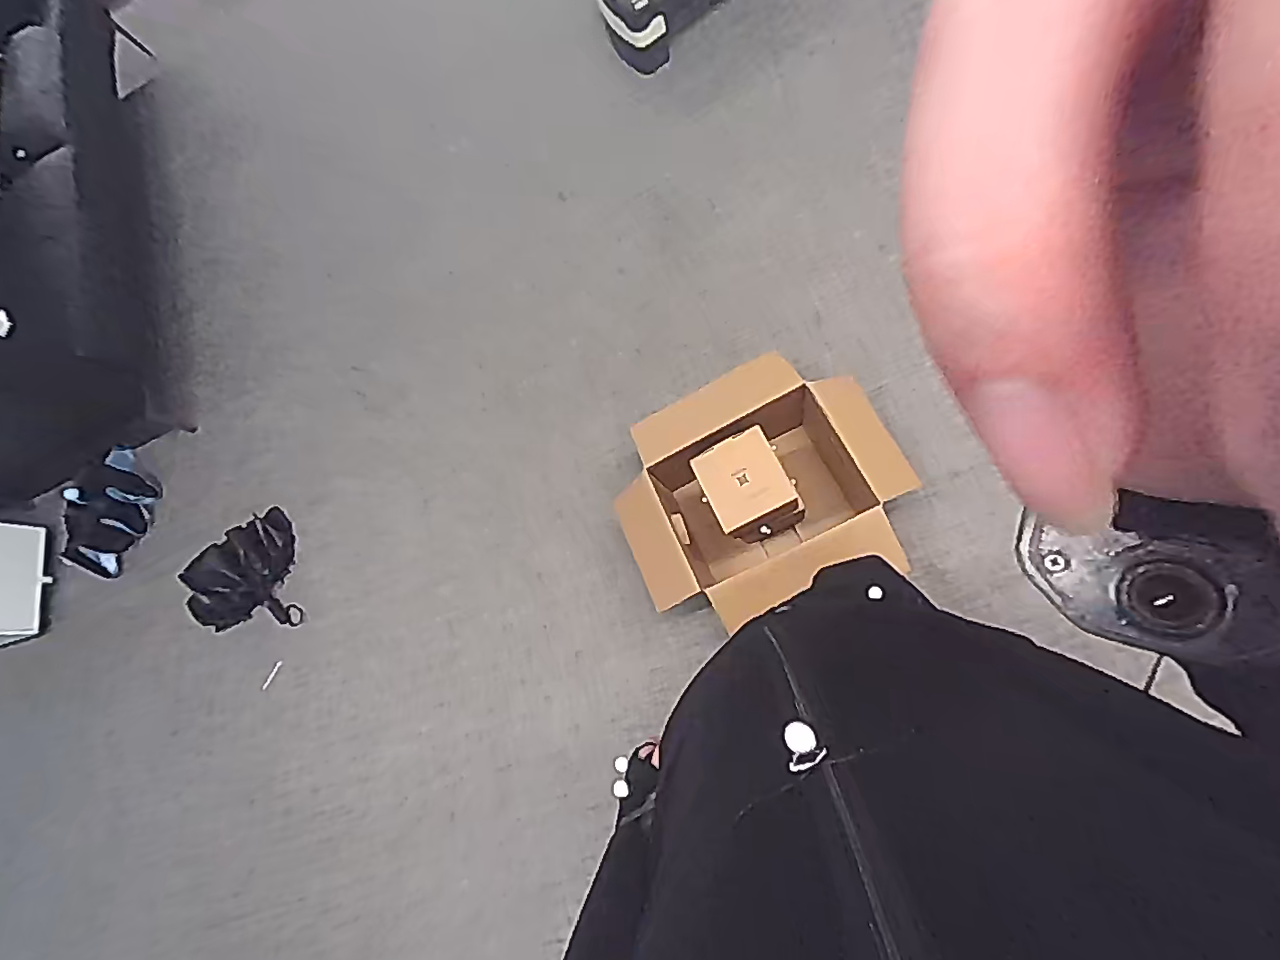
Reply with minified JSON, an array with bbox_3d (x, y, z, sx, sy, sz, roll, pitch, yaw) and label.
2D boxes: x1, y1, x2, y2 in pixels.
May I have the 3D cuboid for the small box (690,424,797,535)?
[{"bbox_3d":[0.229,0.007,1.187,0.168,0.176,0.179,-28,74,10],"label":"small box"}]
